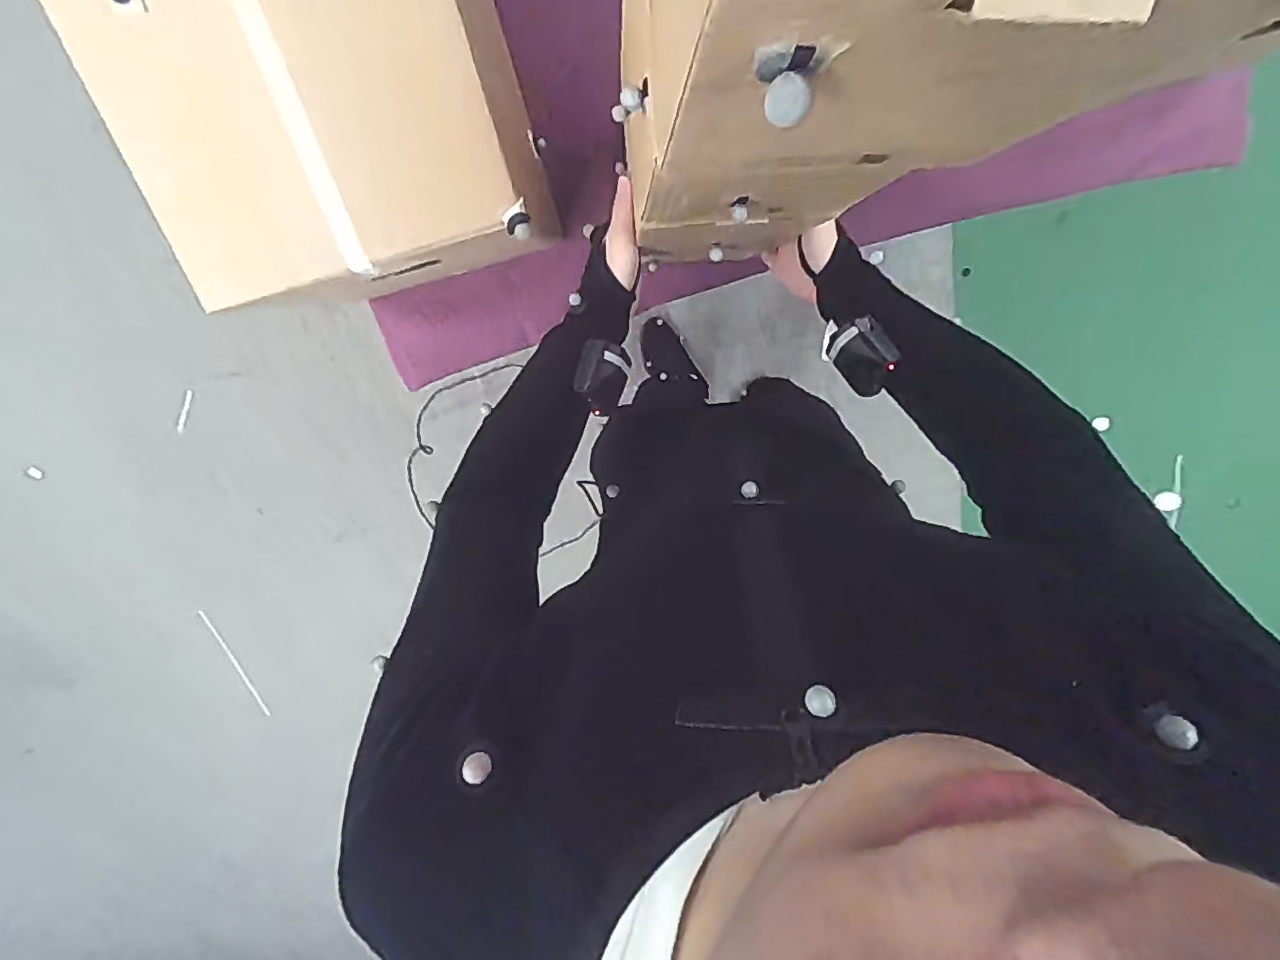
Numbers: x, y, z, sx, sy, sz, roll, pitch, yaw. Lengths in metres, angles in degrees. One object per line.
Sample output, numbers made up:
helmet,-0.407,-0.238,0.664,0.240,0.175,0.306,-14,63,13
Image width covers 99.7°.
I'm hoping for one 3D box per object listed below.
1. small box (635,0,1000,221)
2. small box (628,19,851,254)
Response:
small box,0.087,-0.274,0.332,0.168,0.176,0.179,-6,106,-2
small box,0.079,-0.314,0.489,0.168,0.176,0.179,-5,106,-1
